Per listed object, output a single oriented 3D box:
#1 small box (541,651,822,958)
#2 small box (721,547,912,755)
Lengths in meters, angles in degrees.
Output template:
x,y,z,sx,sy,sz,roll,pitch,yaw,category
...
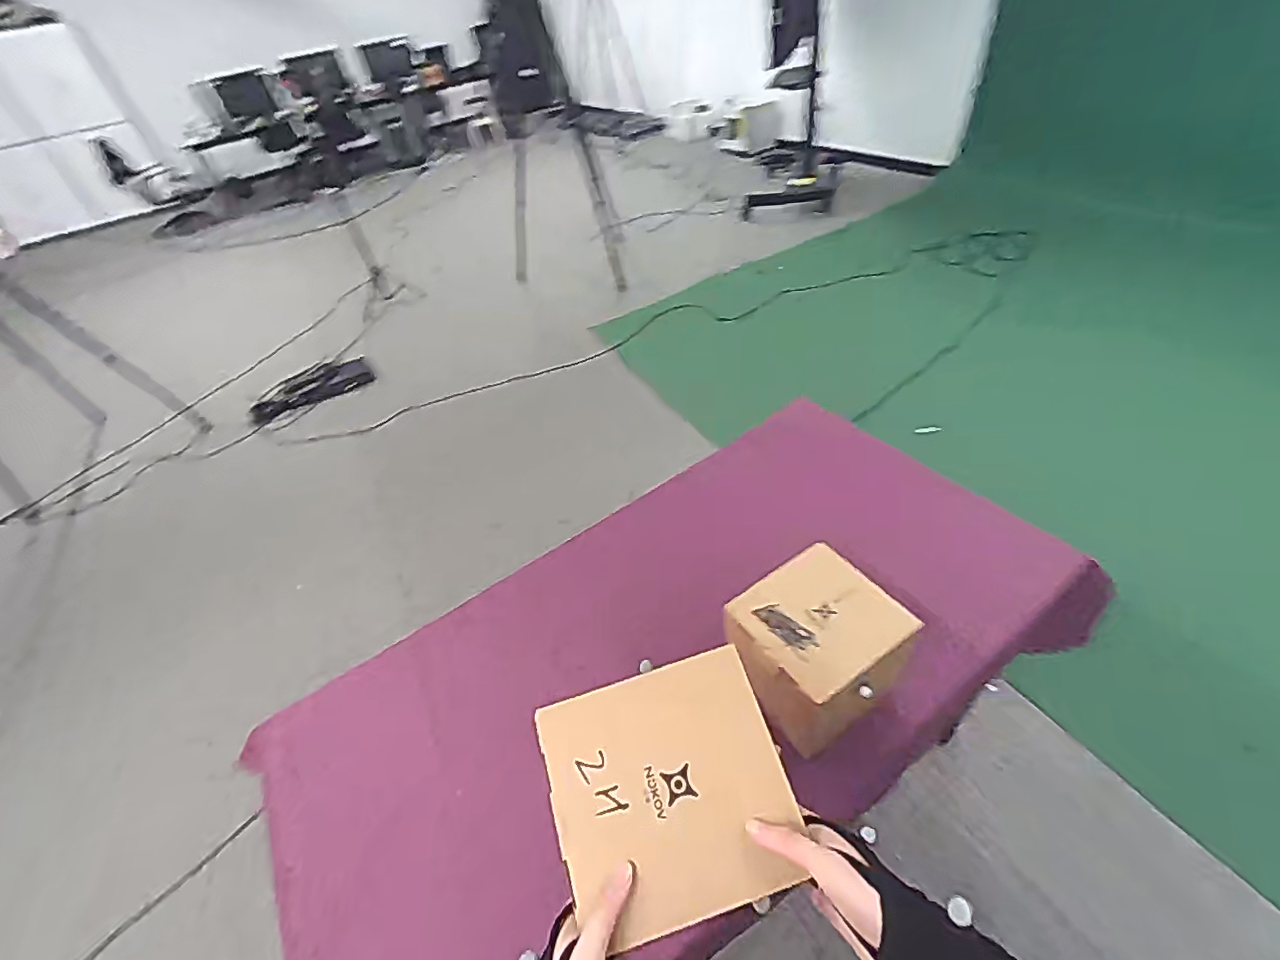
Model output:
x,y,z,sx,sy,sz,roll,pitch,yaw,category
0.030,0.266,0.477,0.179,0.176,0.168,-17,63,-3,small box
0.231,0.232,0.734,0.179,0.176,0.168,-29,46,-18,small box
